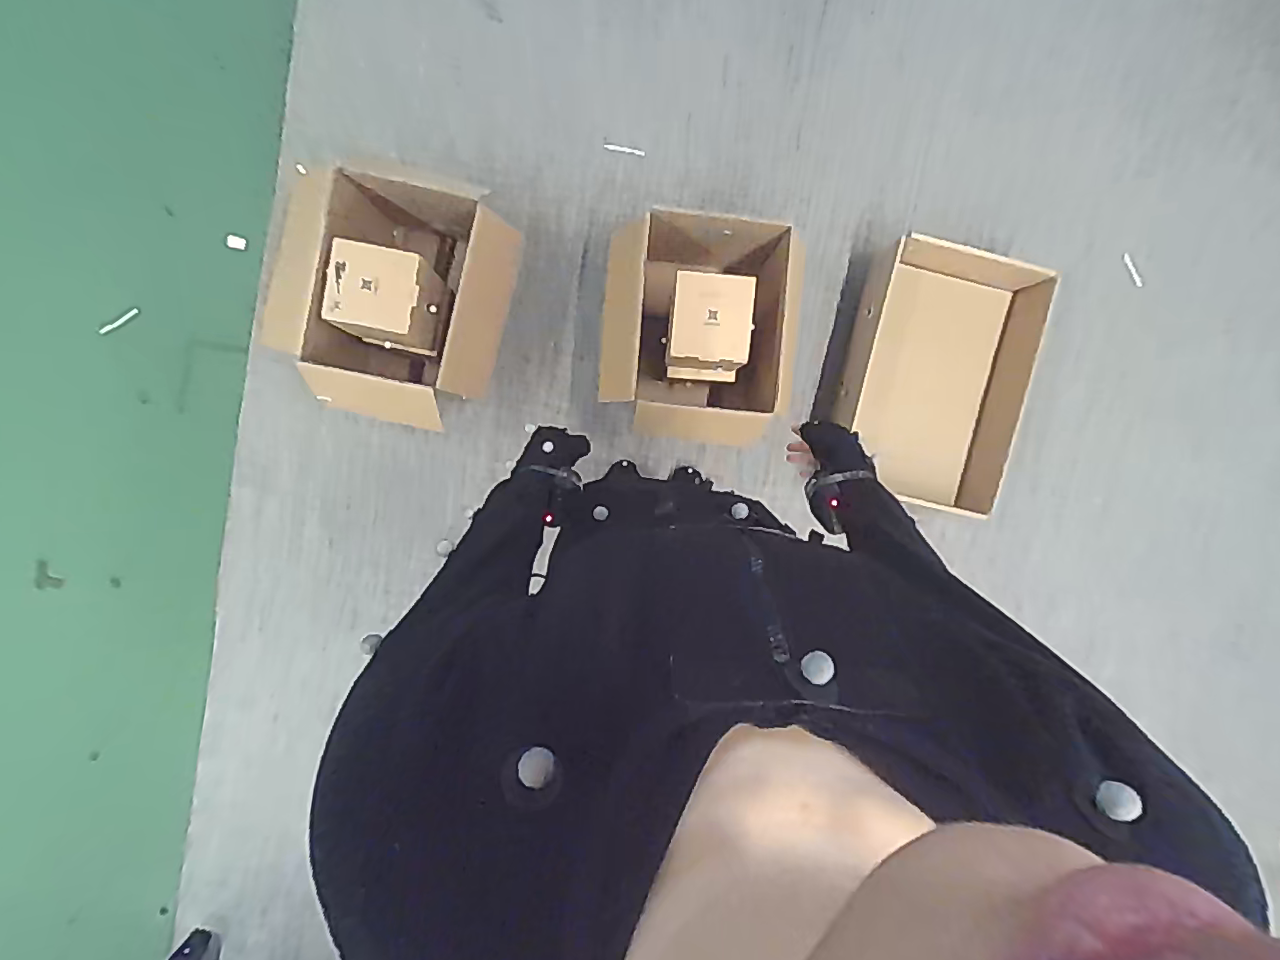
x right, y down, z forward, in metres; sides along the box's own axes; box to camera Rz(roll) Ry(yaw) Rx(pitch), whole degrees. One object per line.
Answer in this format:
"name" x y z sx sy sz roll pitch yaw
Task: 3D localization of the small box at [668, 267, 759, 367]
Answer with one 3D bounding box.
"small box" 0.153 -0.346 1.182 0.168 0.176 0.179 4 95 -2
